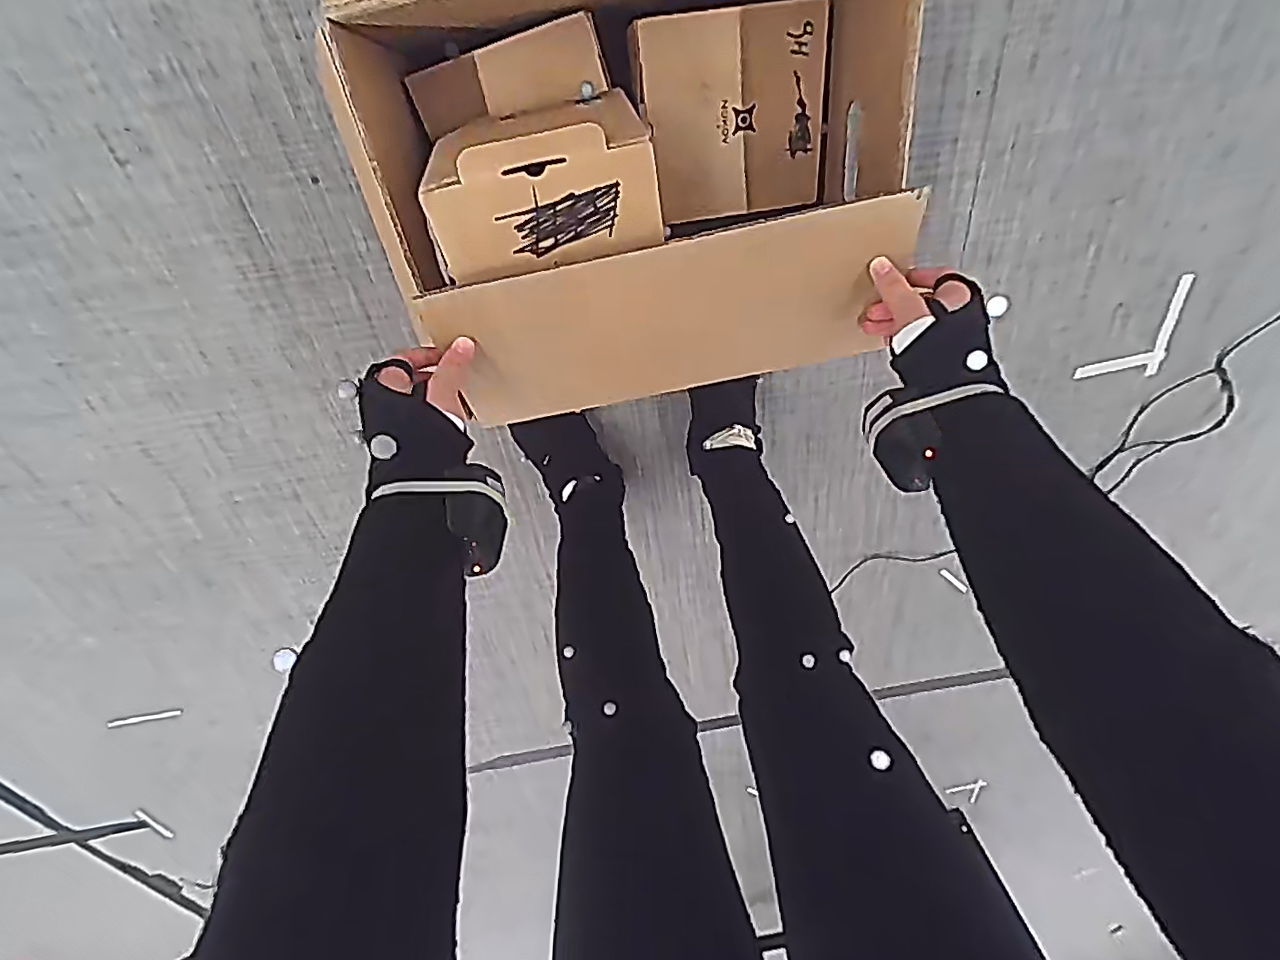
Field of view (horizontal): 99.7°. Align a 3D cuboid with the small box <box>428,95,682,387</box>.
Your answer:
[{"bbox_3d":[-0.065,-0.214,0.477,0.168,0.176,0.179,-12,137,1],"label":"small box"}]
